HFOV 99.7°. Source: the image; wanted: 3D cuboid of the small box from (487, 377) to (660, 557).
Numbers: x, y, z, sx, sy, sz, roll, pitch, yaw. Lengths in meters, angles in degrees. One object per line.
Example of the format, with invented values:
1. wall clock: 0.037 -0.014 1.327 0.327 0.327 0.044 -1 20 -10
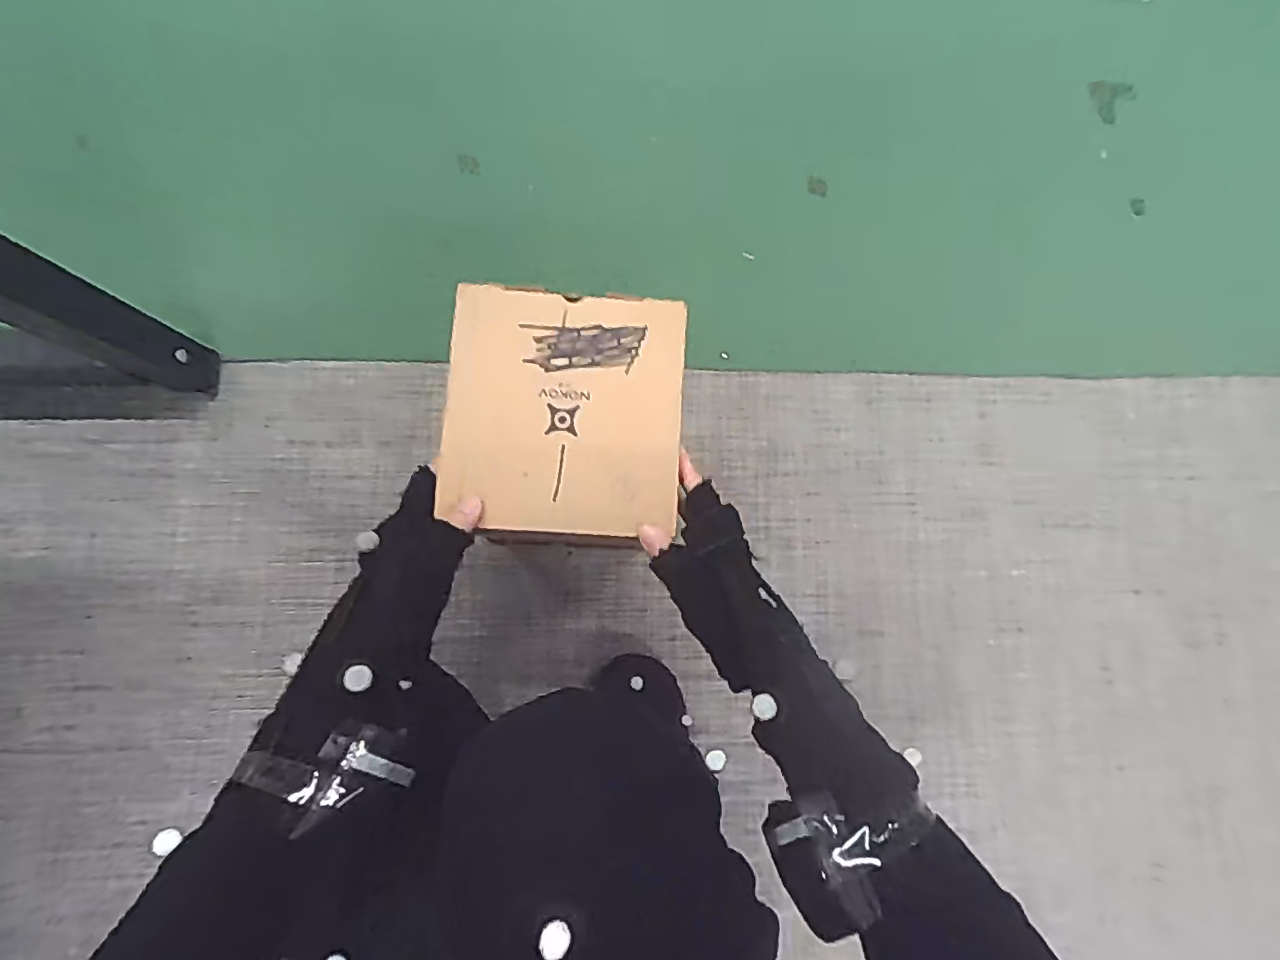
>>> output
1. small box: -0.069 -0.004 0.620 0.168 0.176 0.179 2 82 -3
